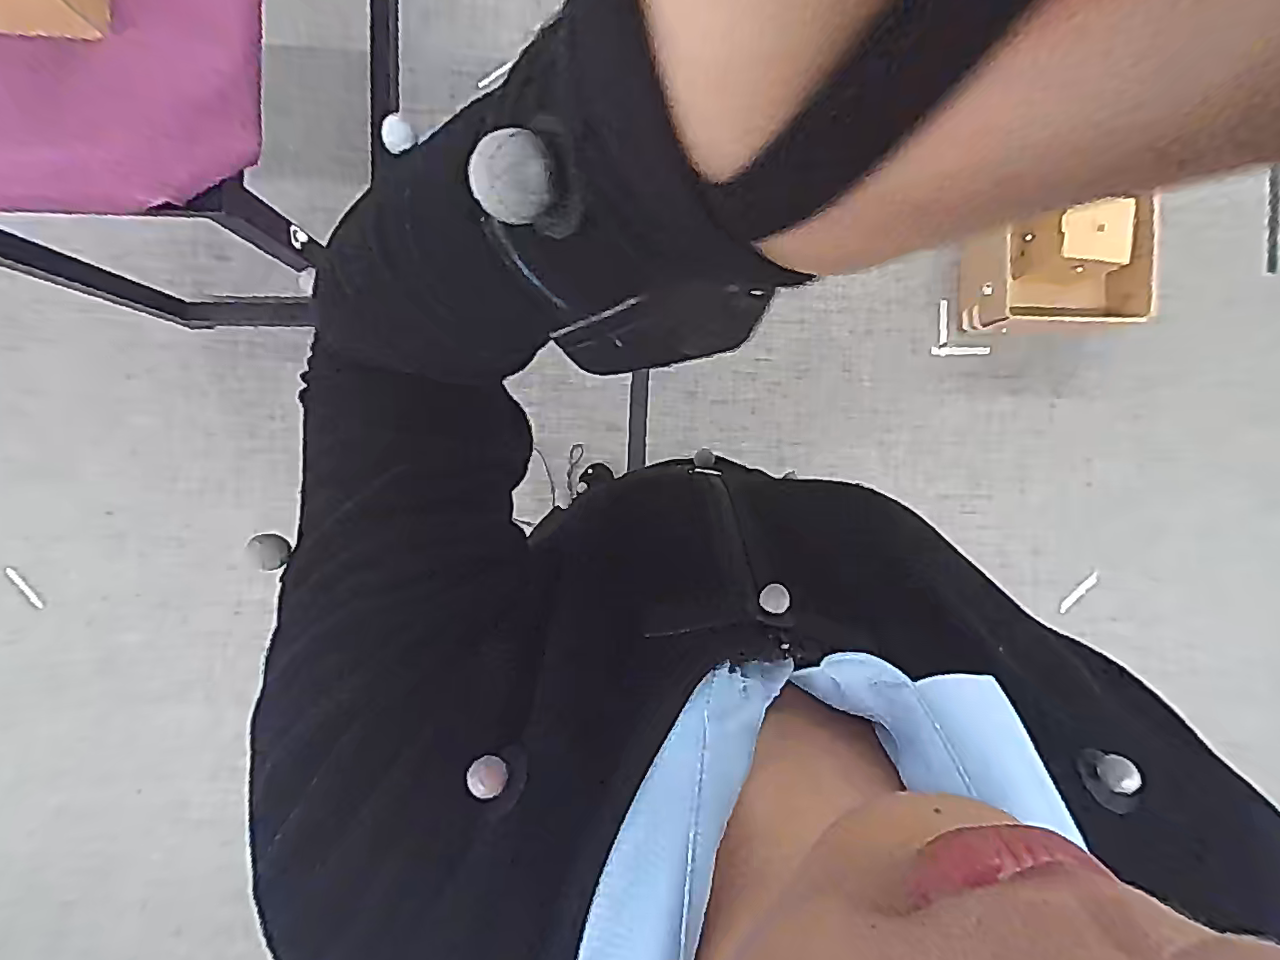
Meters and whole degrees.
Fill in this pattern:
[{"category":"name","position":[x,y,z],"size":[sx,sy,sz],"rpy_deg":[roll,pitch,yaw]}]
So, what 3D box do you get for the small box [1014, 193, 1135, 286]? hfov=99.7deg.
[{"category":"small box","position":[1.136,-0.623,1.424],"size":[0.179,0.176,0.168],"rpy_deg":[6,90,-3]}]
